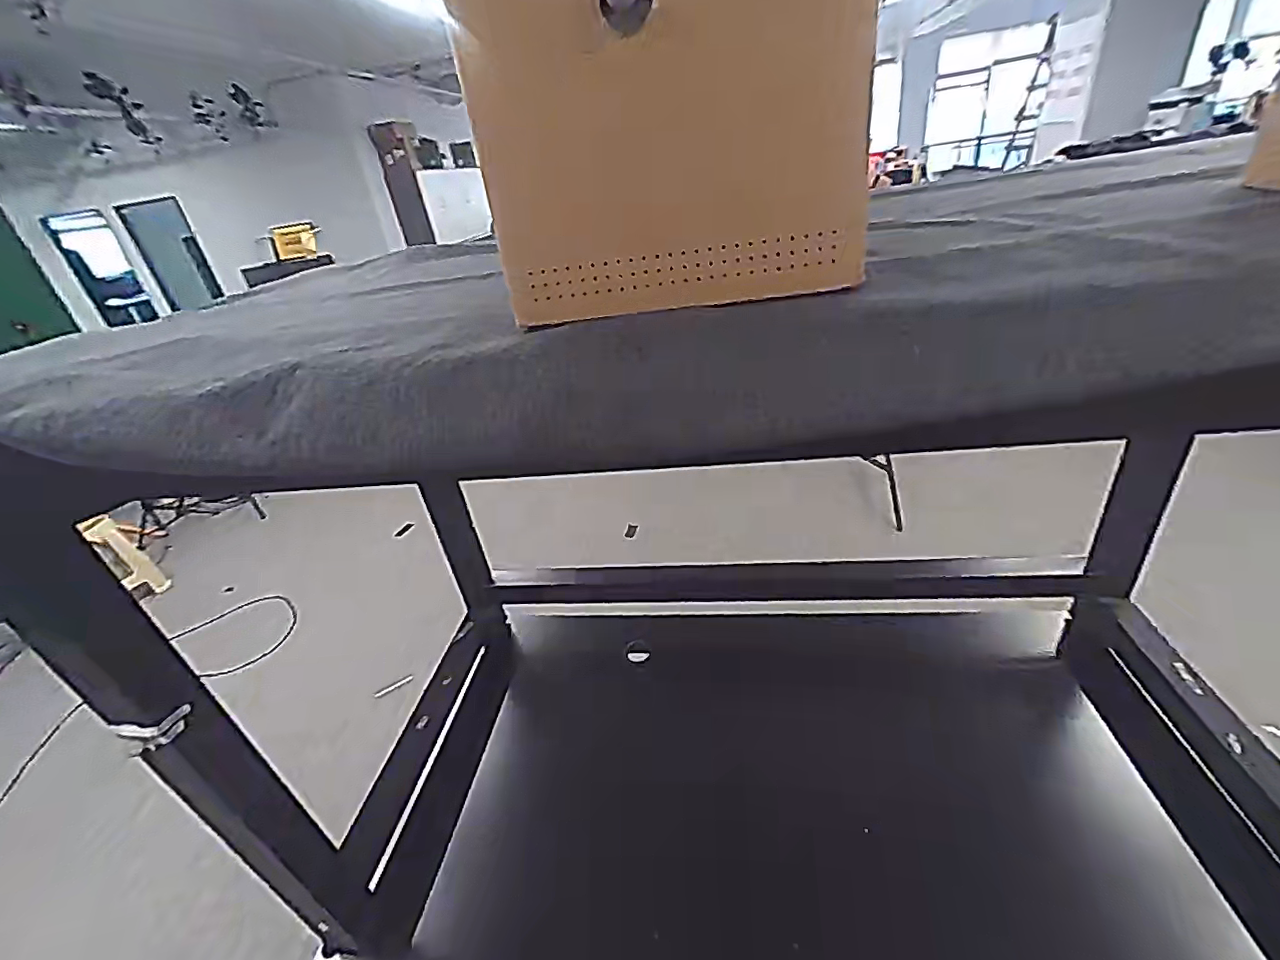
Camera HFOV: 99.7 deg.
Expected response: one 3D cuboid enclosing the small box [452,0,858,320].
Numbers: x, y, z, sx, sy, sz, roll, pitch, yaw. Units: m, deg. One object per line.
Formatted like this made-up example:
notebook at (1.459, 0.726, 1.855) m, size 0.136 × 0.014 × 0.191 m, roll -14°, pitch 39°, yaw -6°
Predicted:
small box at (0.016, -0.195, 0.307) m, size 0.179 × 0.176 × 0.168 m, roll -4°, pitch 28°, yaw 7°
